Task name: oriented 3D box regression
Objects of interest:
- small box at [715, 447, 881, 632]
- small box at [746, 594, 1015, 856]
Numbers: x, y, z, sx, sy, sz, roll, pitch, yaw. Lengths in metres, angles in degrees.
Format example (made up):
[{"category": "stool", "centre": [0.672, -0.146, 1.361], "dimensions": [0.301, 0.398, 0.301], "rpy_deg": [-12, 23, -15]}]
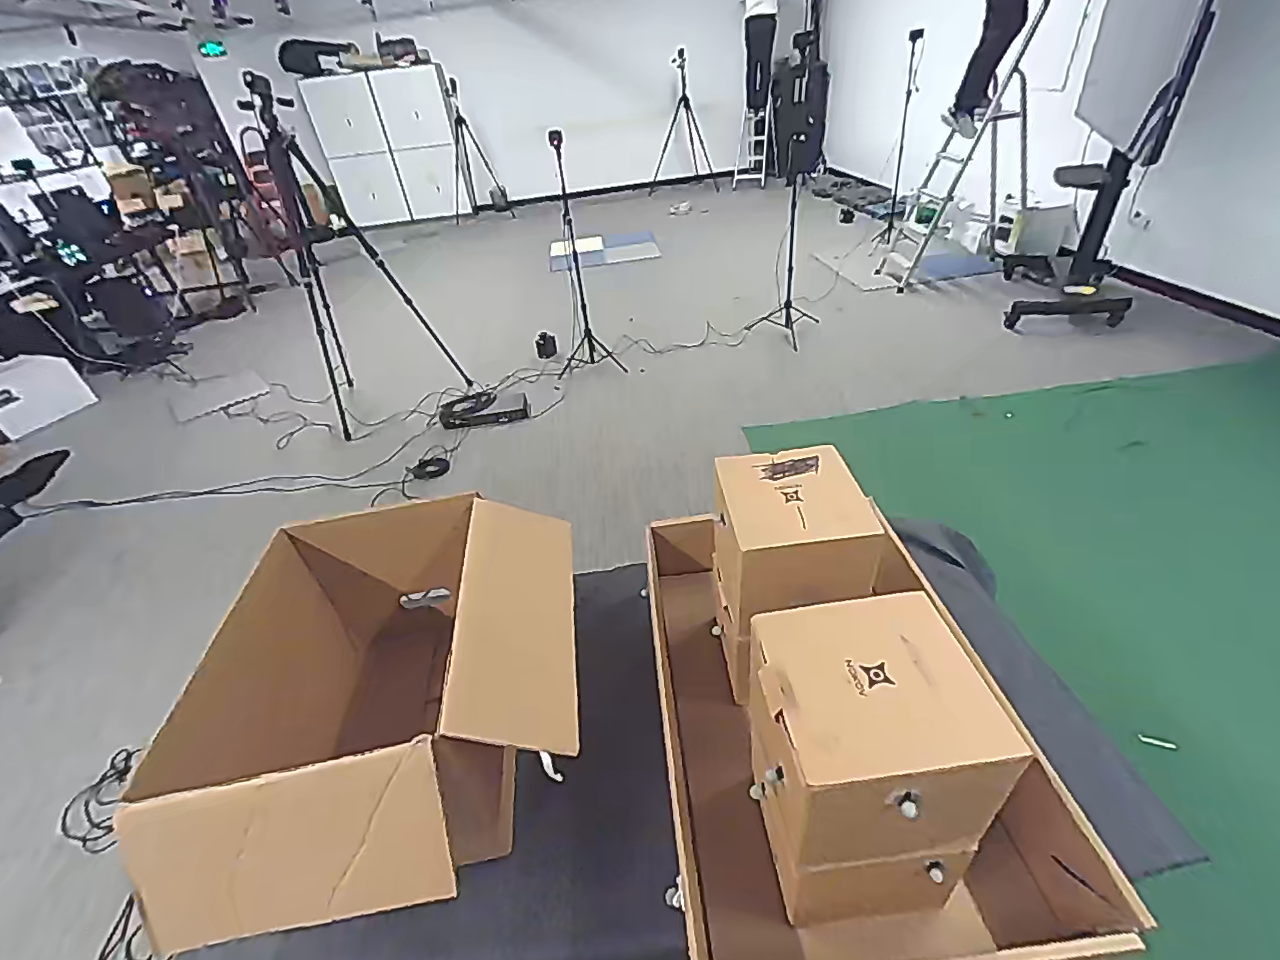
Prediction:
[{"category": "small box", "centre": [0.193, 0.079, 0.723], "dimensions": [0.168, 0.176, 0.179], "rpy_deg": [-6, 40, 1]}, {"category": "small box", "centre": [0.207, 0.237, 0.525], "dimensions": [0.179, 0.176, 0.168], "rpy_deg": [-7, 38, -1]}]
